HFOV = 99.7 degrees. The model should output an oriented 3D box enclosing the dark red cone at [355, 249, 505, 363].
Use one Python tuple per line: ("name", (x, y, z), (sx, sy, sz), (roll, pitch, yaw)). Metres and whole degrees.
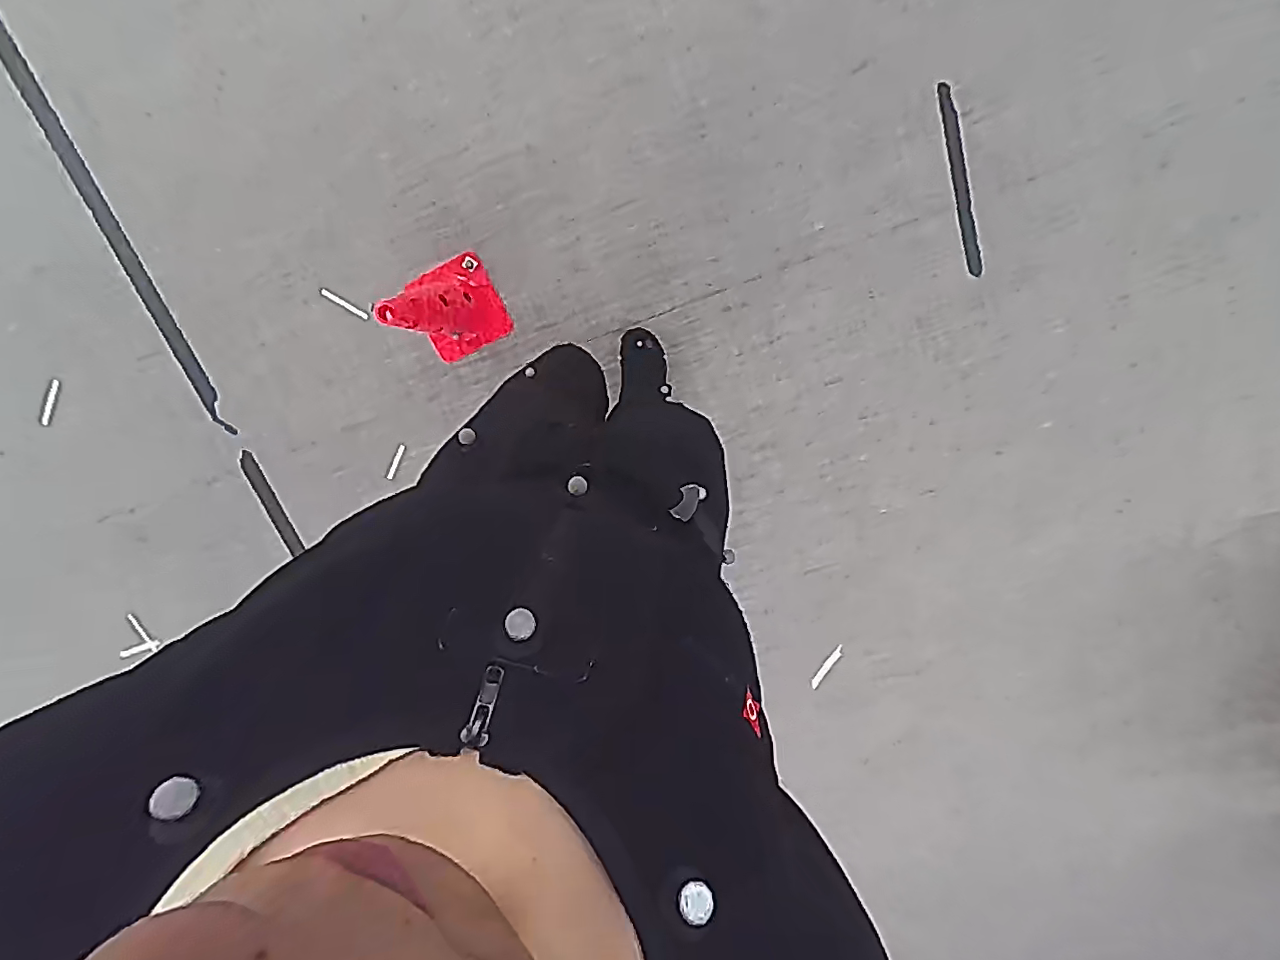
("dark red cone", (-0.439, -0.337, 1.073), (0.201, 0.394, 0.202), (-24, 106, 12))
